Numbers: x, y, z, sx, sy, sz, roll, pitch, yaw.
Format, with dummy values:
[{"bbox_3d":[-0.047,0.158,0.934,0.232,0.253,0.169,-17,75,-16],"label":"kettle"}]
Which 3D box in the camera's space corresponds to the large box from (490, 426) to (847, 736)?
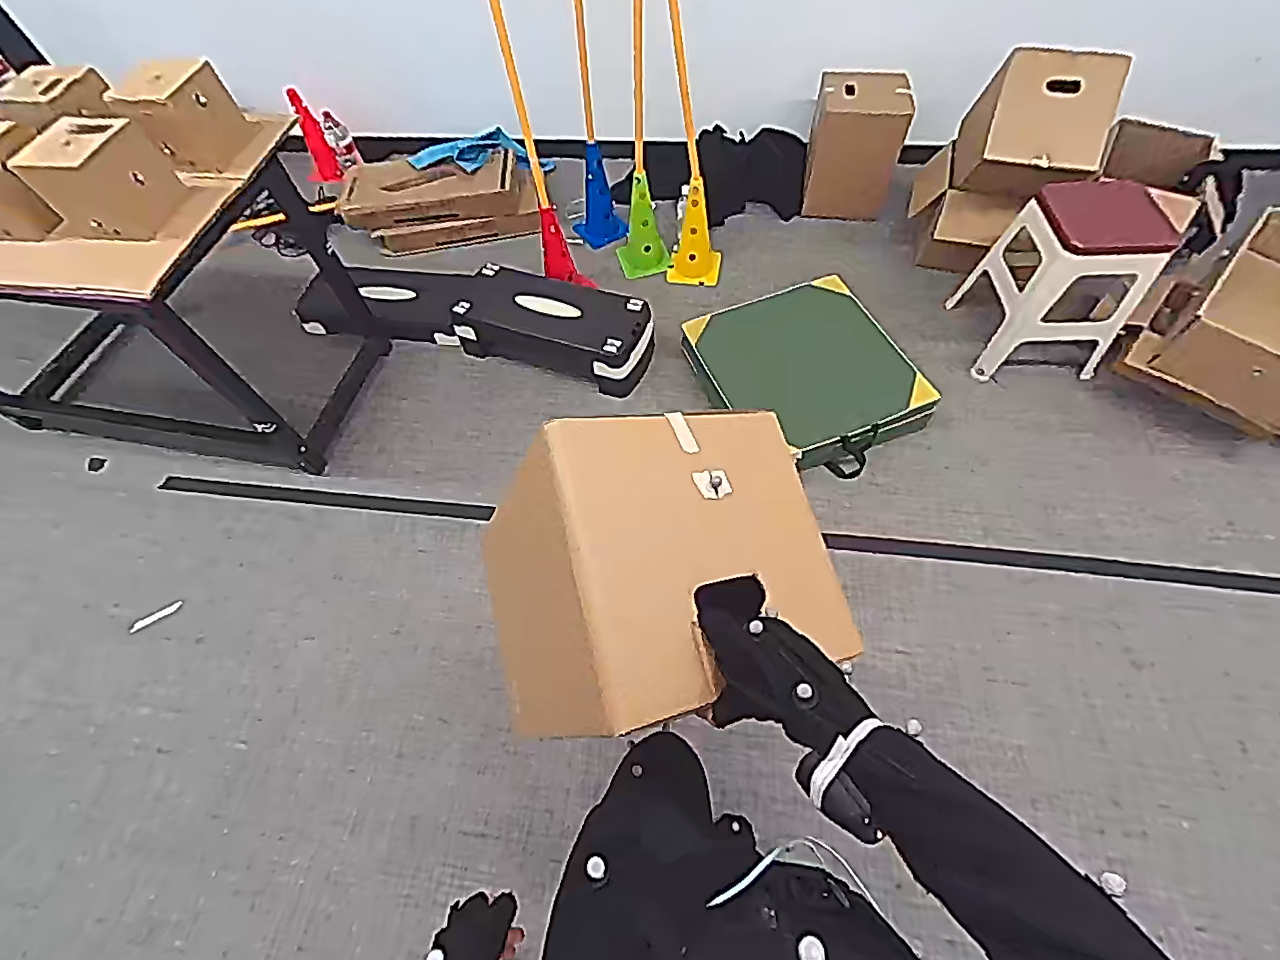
[{"bbox_3d":[-0.005,0.153,0.759,0.320,0.408,0.320,-4,69,-27],"label":"large box"}]
